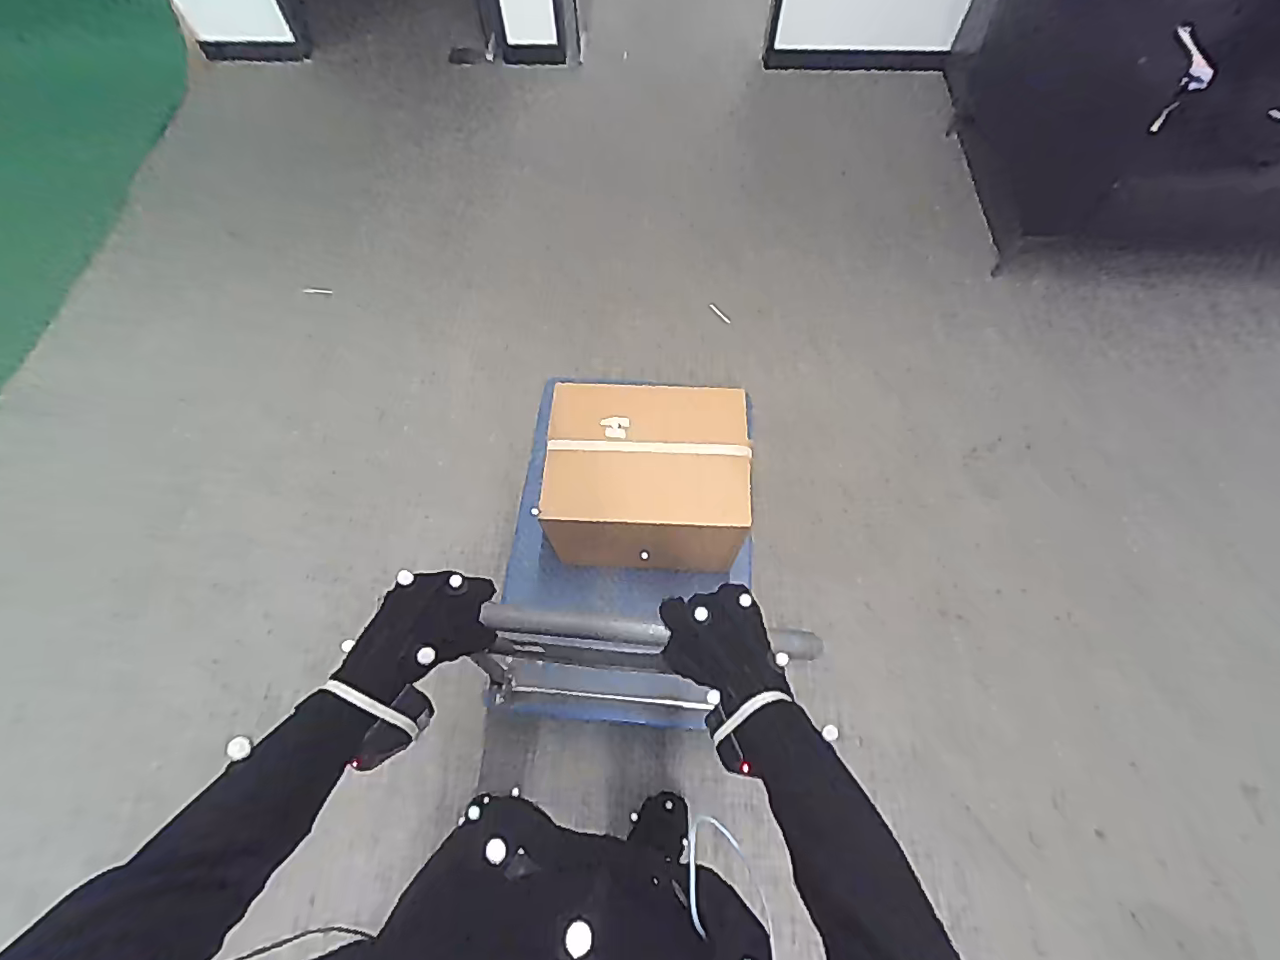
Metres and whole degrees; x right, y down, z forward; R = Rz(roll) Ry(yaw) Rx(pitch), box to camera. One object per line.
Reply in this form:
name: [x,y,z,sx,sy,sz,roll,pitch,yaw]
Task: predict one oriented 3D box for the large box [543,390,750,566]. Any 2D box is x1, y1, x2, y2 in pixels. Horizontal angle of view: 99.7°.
large box: [0.018,0.009,1.227,0.408,0.320,0.320,1,64,2]
